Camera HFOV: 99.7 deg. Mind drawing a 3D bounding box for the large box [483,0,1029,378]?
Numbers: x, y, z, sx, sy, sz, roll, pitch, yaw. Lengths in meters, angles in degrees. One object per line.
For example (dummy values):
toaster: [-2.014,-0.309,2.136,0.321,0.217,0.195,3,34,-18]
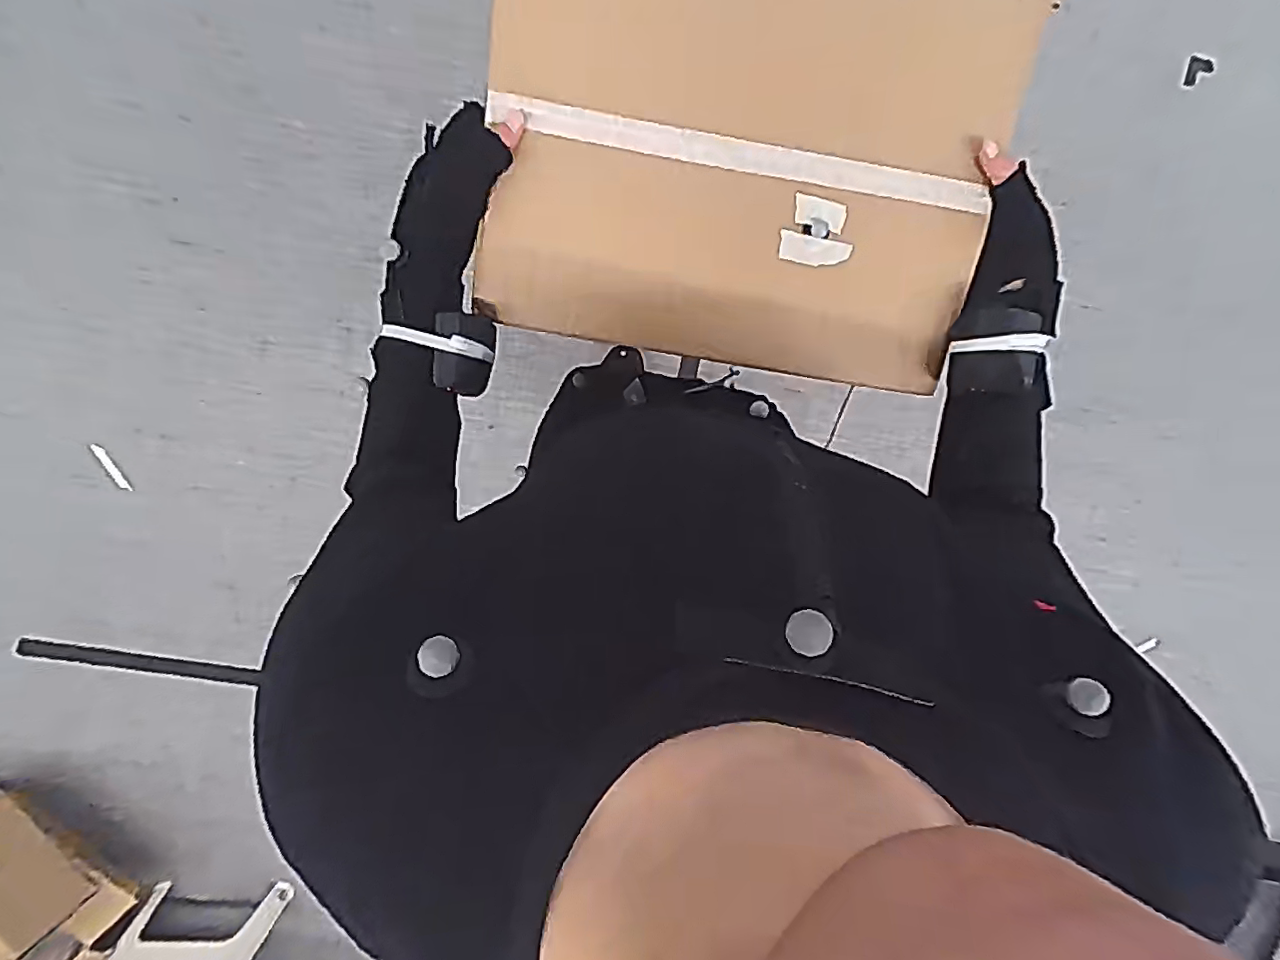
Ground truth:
large box: [0.075,-0.306,0.580,0.408,0.320,0.320,9,107,-5]
